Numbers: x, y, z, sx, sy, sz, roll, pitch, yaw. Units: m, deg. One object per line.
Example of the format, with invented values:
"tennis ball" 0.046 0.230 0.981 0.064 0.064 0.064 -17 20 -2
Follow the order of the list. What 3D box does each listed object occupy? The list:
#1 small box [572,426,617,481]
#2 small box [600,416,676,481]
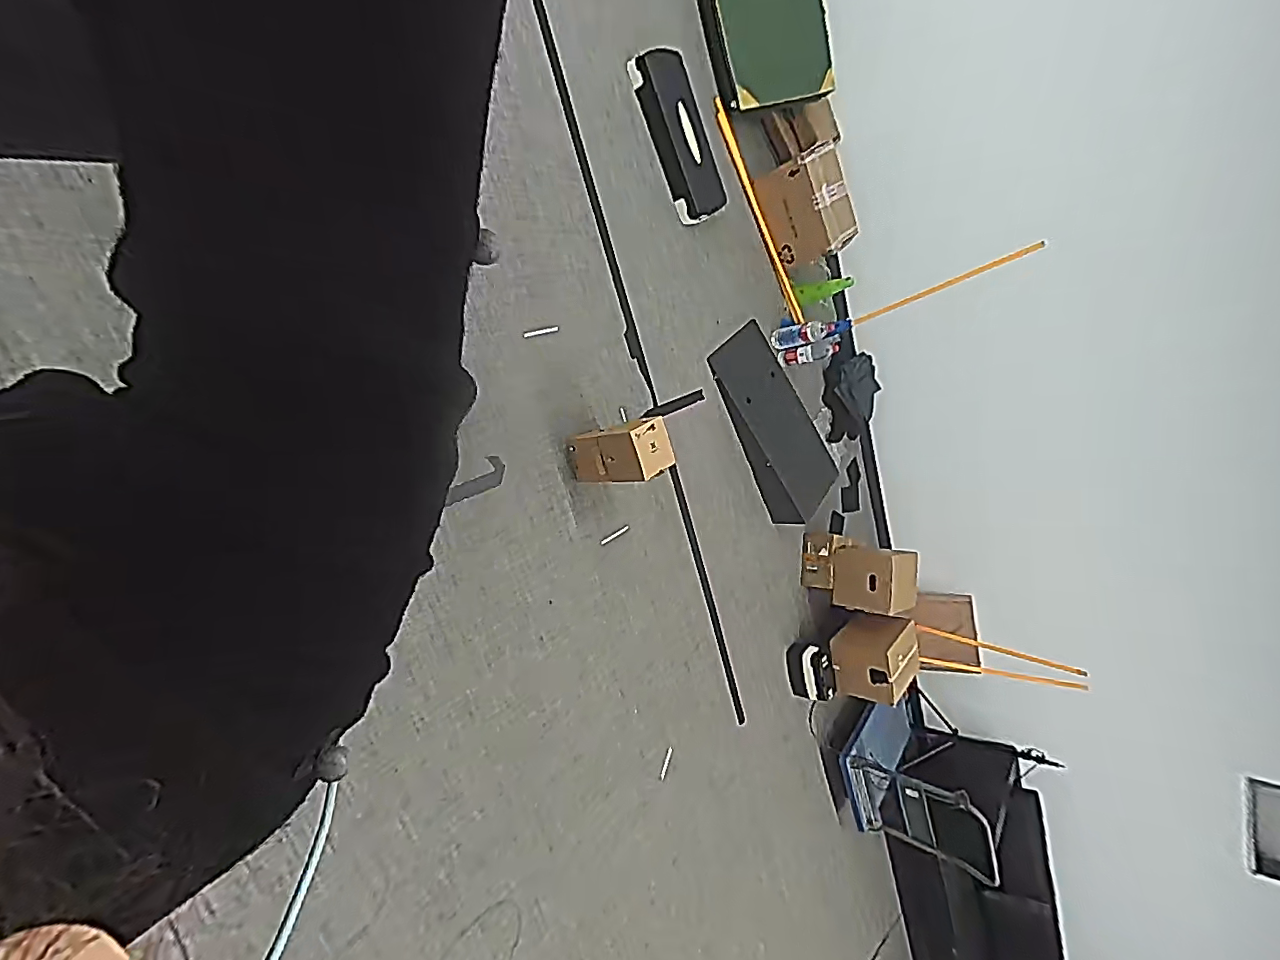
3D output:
"small box" -0.125 -0.097 1.952 0.179 0.176 0.168 -26 107 -43
"small box" -0.008 -0.107 1.836 0.168 0.176 0.179 -32 111 -42
